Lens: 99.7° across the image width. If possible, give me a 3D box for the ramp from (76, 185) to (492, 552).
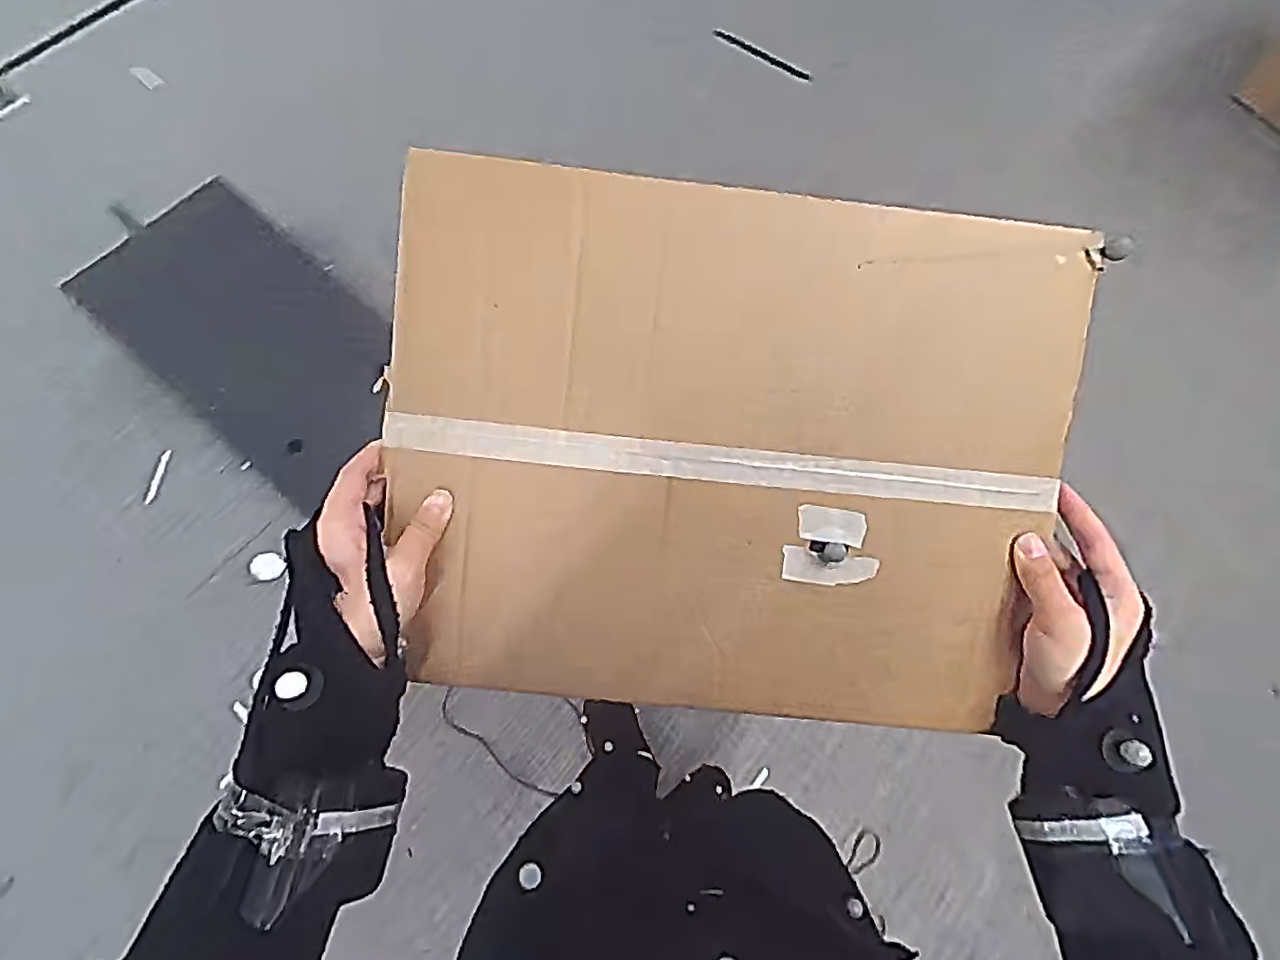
[{"bbox_3d":[-0.912,-0.319,1.416,0.991,0.206,0.509,37,74,12],"label":"ramp"}]
